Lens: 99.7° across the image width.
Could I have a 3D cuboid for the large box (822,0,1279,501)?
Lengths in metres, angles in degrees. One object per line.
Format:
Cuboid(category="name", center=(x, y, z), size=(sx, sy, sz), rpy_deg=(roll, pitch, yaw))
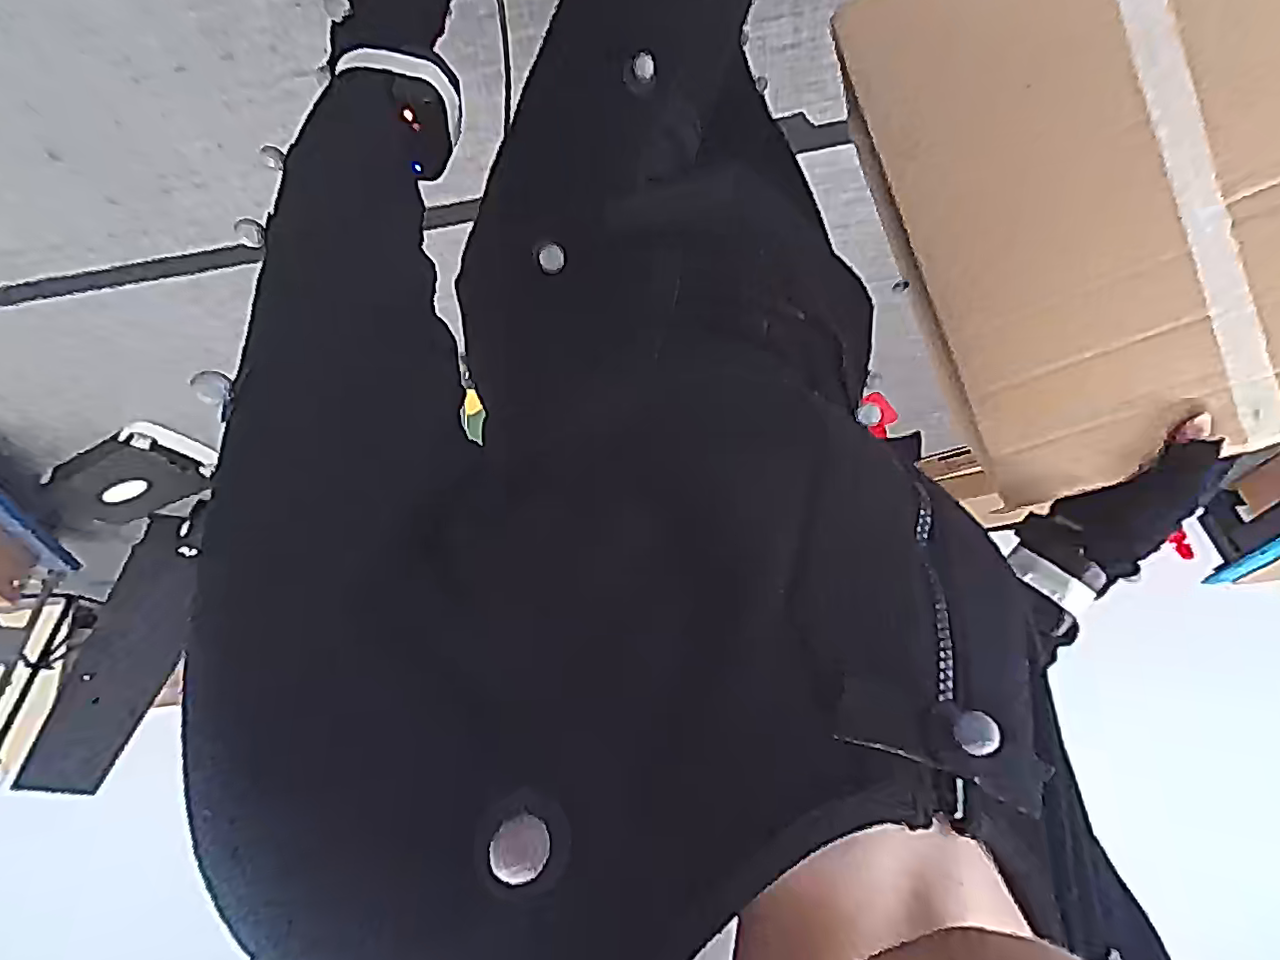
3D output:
Cuboid(category="large box", center=(0.399, -0.251, 0.497), size=(0.320, 0.408, 0.320), rpy_deg=(-21, -171, 28))
